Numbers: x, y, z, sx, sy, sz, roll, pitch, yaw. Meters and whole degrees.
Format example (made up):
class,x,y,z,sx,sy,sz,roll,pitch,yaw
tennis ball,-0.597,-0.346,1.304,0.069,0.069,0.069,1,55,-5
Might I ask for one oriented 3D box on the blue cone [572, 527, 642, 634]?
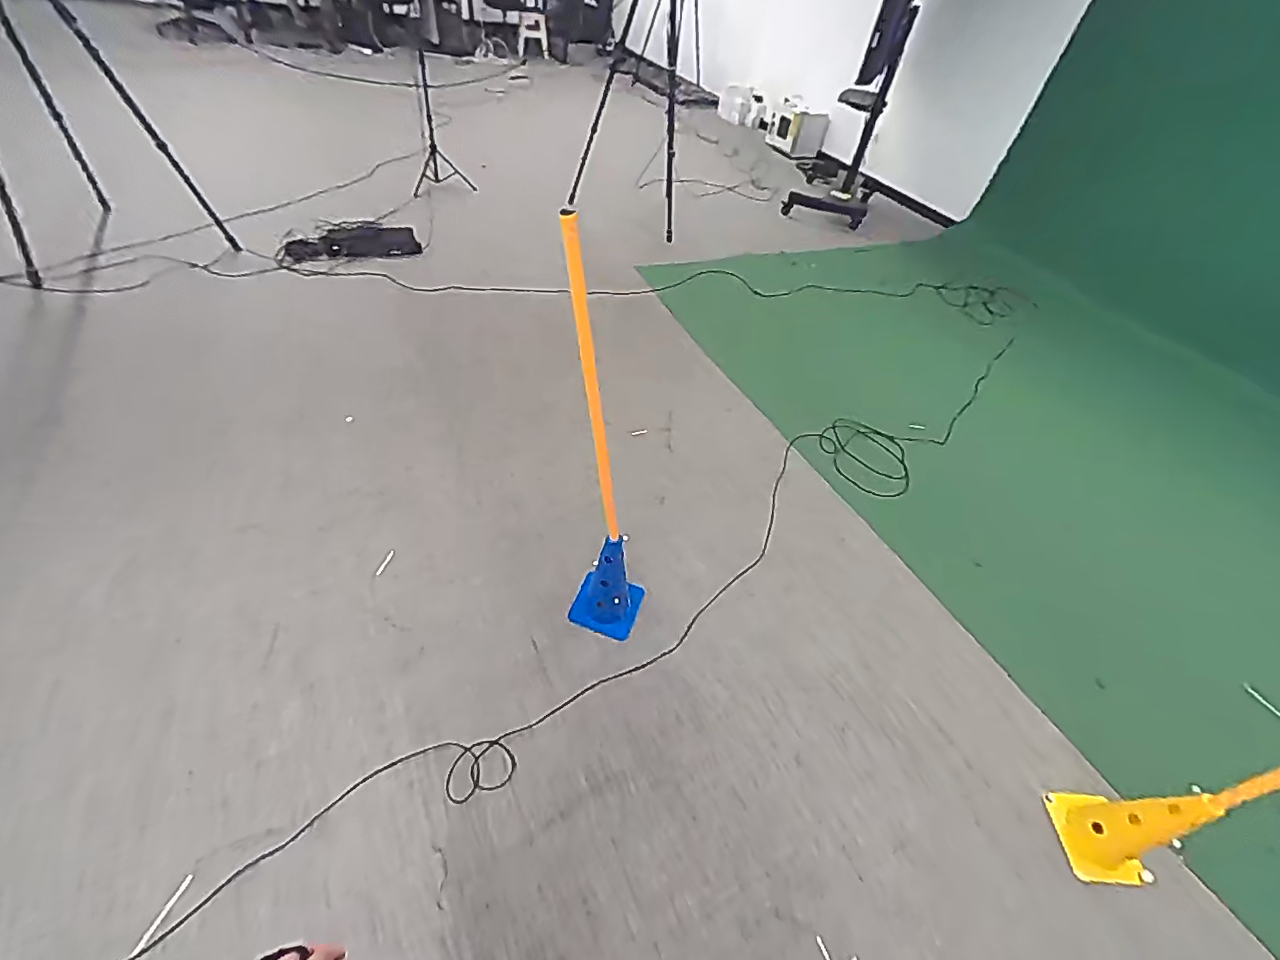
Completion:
class,x,y,z,sx,sy,sz,roll,pitch,yaw
blue cone,-0.087,0.272,1.567,0.193,0.380,0.192,17,47,8
